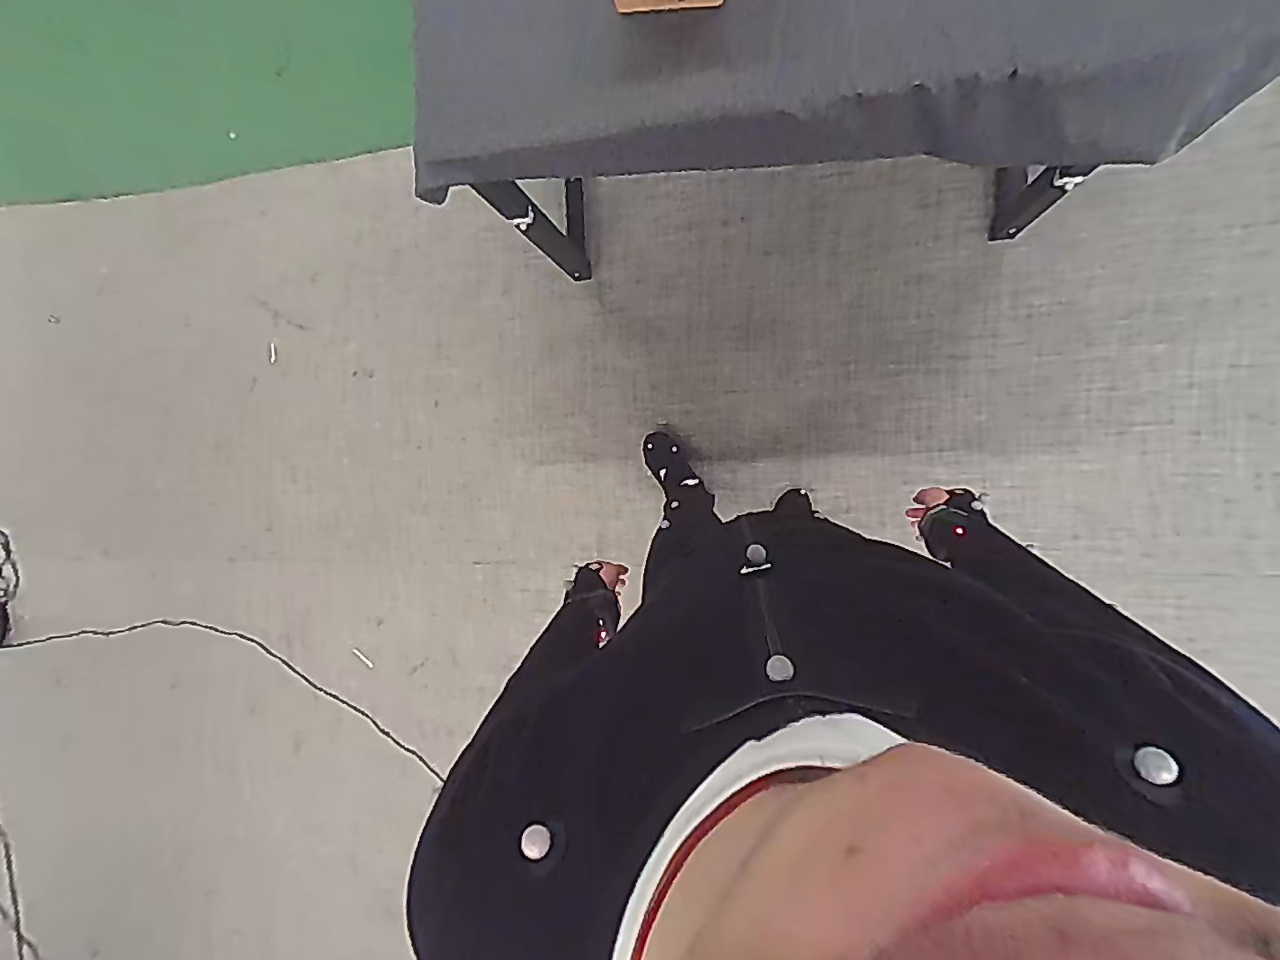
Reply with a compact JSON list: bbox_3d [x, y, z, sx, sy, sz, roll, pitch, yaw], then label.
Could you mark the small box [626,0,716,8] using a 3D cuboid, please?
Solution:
[{"bbox_3d":[0.038,-0.795,0.737,0.168,0.176,0.179,3,93,13],"label":"small box"}]
